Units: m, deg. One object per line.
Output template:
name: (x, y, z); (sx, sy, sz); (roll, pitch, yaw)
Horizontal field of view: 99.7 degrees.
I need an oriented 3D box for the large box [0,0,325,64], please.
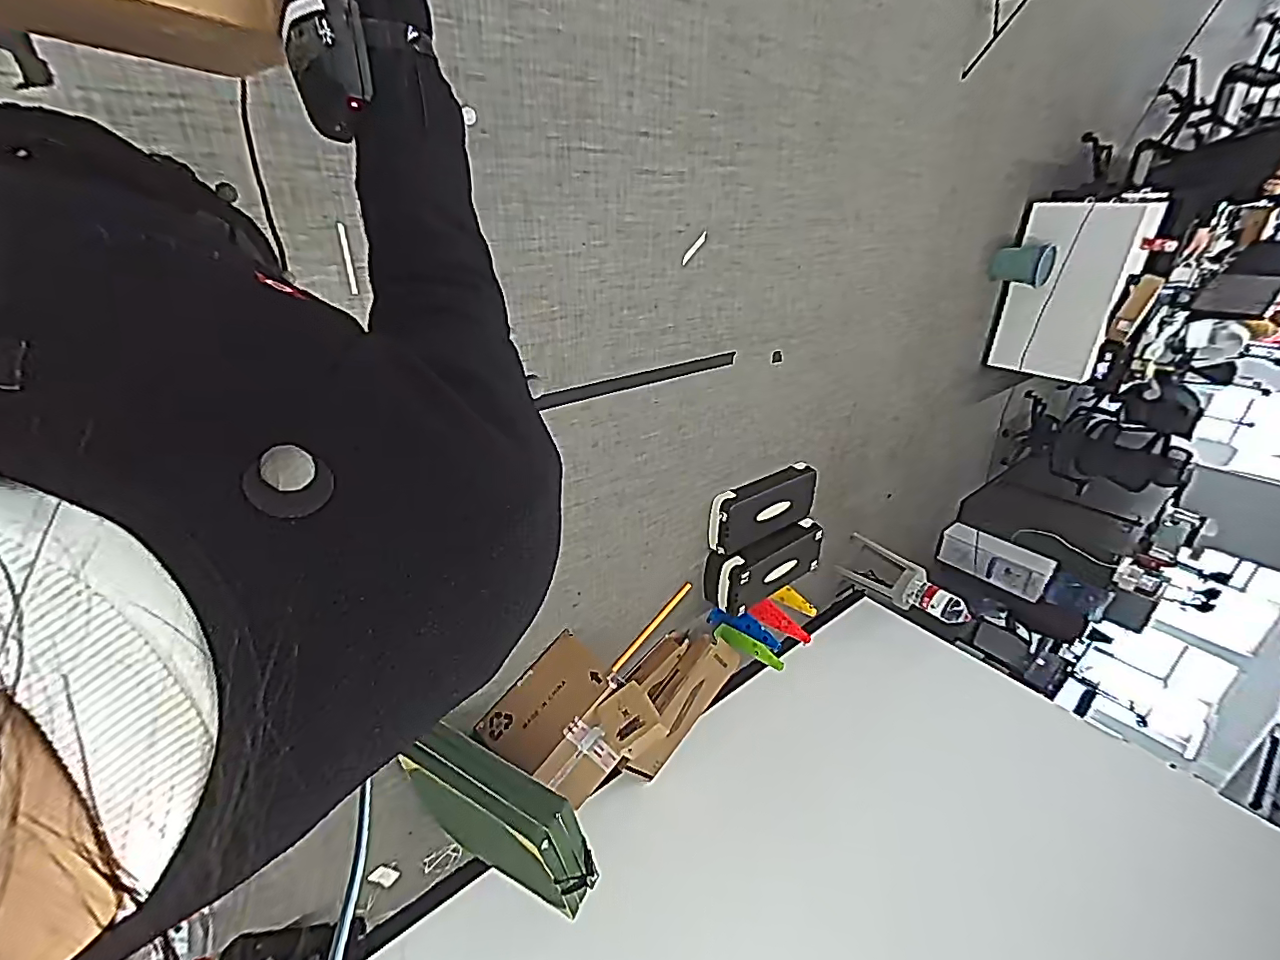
large box: (-0.449, -0.459, 0.276); (0.408, 0.320, 0.320); (-18, 127, -40)
